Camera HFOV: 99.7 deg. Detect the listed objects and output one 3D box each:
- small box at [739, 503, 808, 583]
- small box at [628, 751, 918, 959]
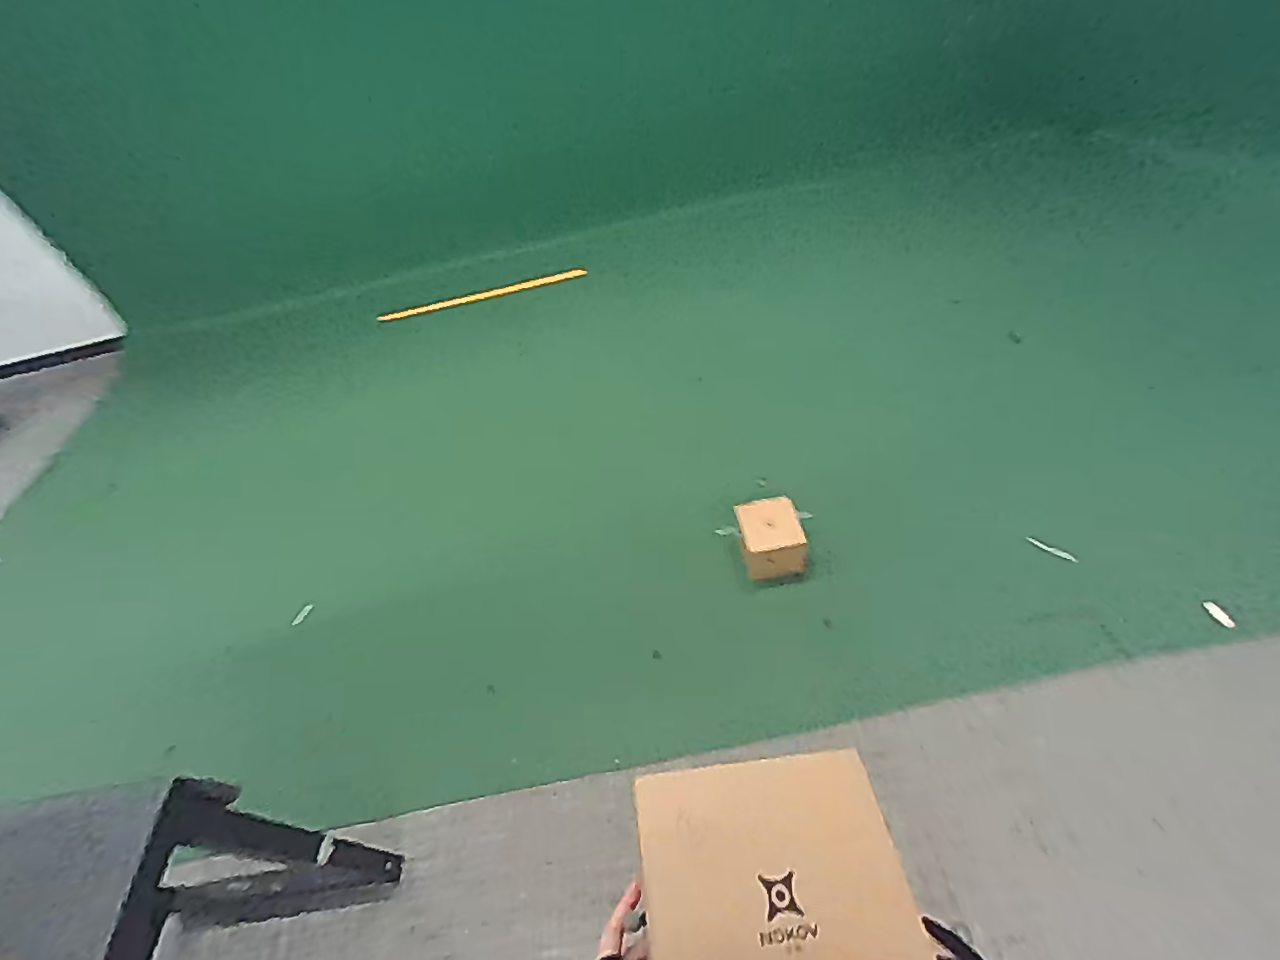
[{"bbox_3d":[0.409,0.201,1.665,0.168,0.176,0.179,-11,46,3],"label":"small box"},{"bbox_3d":[0.079,0.323,0.389,0.168,0.176,0.179,-5,45,-4],"label":"small box"}]
